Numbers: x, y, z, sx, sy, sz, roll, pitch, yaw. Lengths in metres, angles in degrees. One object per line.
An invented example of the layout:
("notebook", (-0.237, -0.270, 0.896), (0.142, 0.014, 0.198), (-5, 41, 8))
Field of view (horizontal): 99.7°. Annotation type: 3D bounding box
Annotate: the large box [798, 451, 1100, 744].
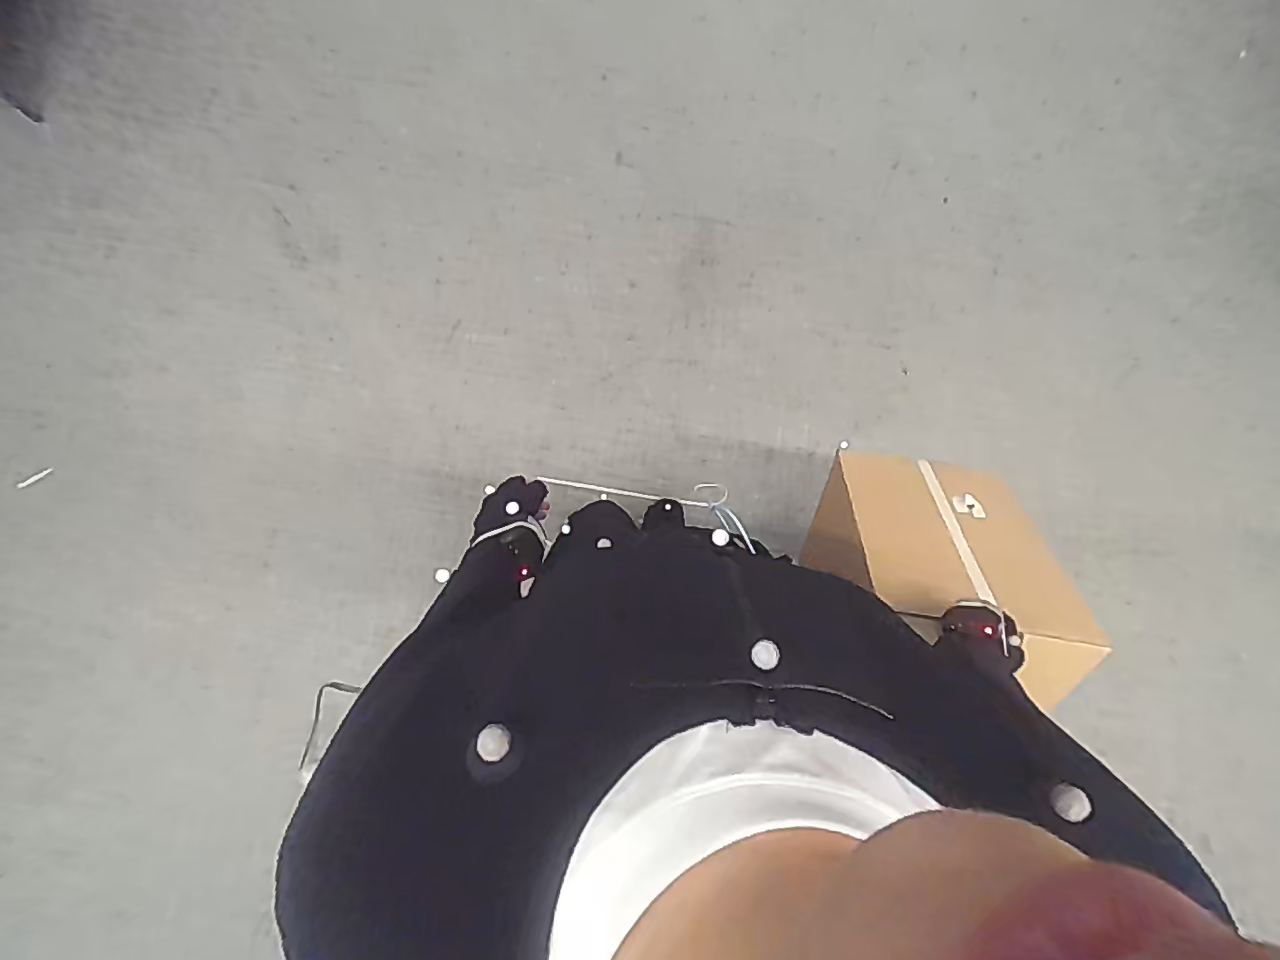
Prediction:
("large box", (0.495, 0.199, 0.991), (0.320, 0.408, 0.320), (9, 127, 3))
